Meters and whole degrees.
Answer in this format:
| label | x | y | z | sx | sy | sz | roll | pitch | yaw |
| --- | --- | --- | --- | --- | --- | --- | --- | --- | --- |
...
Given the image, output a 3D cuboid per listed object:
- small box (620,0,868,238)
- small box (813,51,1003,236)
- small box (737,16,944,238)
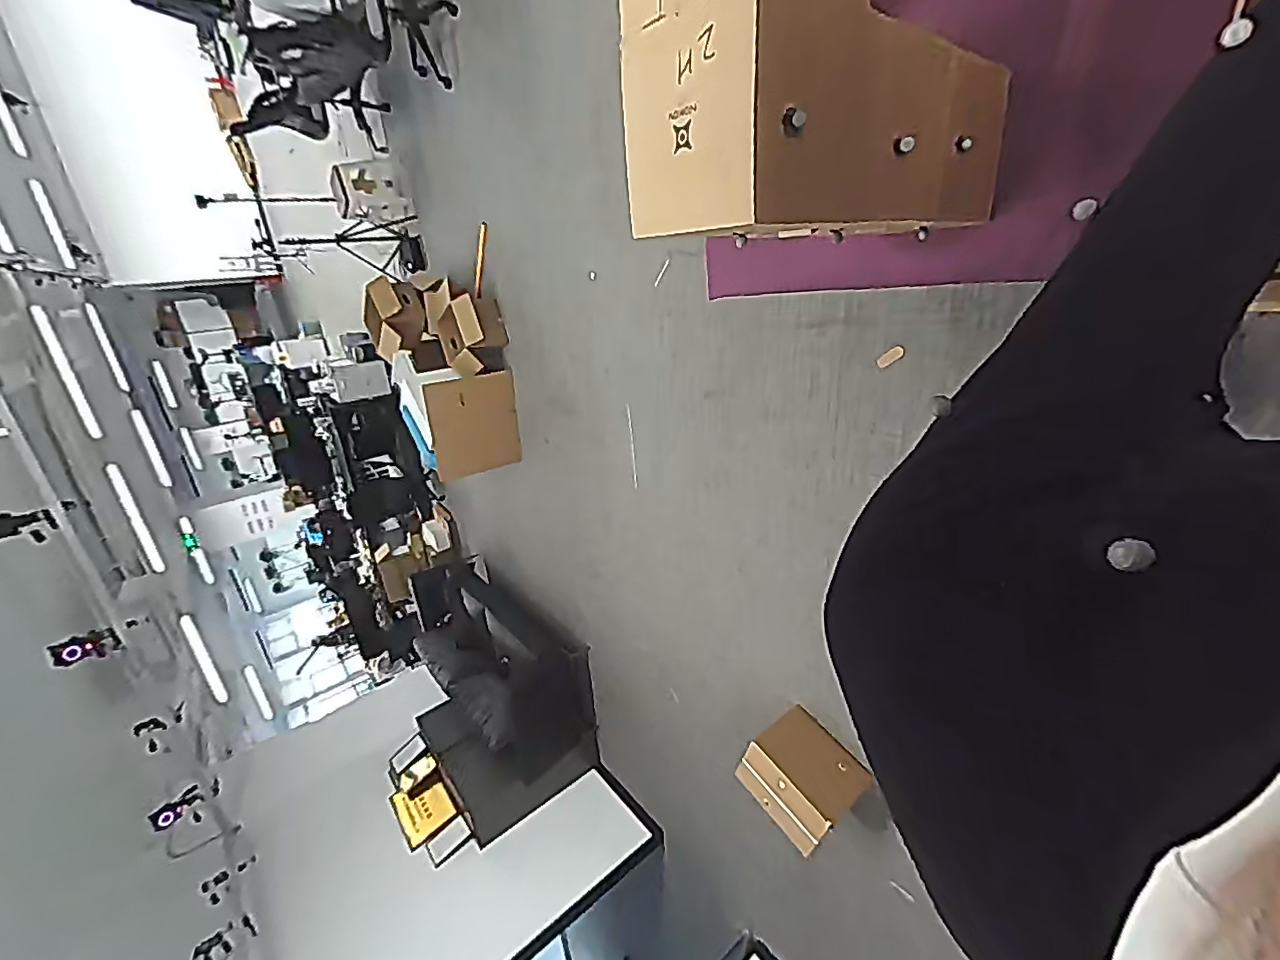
| label | x | y | z | sx | sy | sz | roll | pitch | yaw |
| --- | --- | --- | --- | --- | --- | --- | --- | --- | --- |
| small box | 0.100 | -0.339 | 0.527 | 0.168 | 0.176 | 0.179 | 21 | 122 | 46 |
| small box | 0.352 | -0.428 | 0.719 | 0.168 | 0.176 | 0.179 | 21 | 121 | 47 |
| small box | 0.226 | -0.385 | 0.624 | 0.168 | 0.176 | 0.179 | 20 | 122 | 47 |
